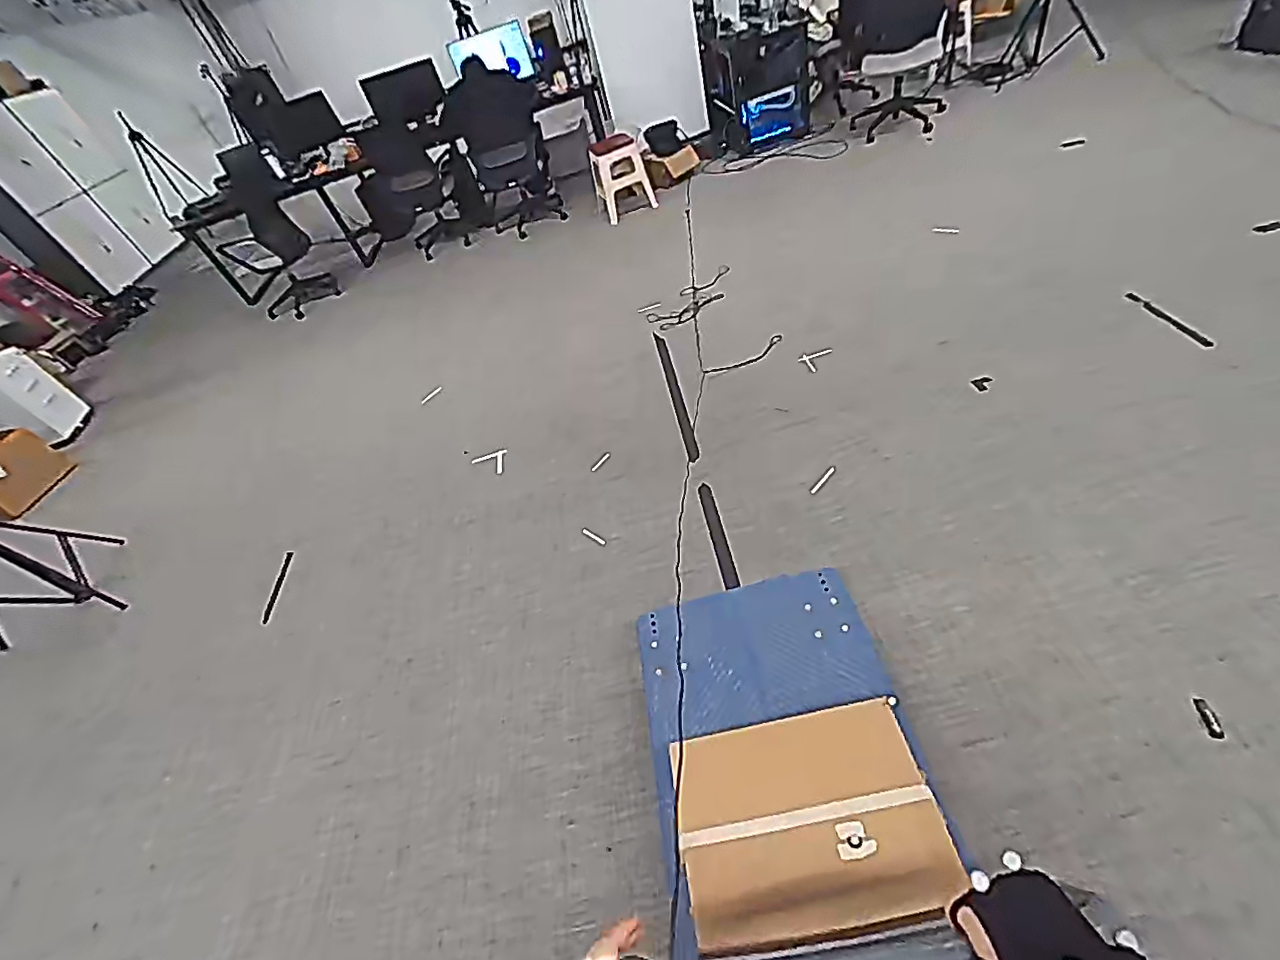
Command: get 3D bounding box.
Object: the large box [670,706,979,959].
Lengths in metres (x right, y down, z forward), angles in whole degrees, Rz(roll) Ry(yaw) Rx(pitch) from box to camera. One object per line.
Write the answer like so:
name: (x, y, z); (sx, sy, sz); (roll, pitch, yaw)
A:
large box: (0.296, 0.657, 0.965); (0.408, 0.320, 0.320); (-14, 44, 5)
